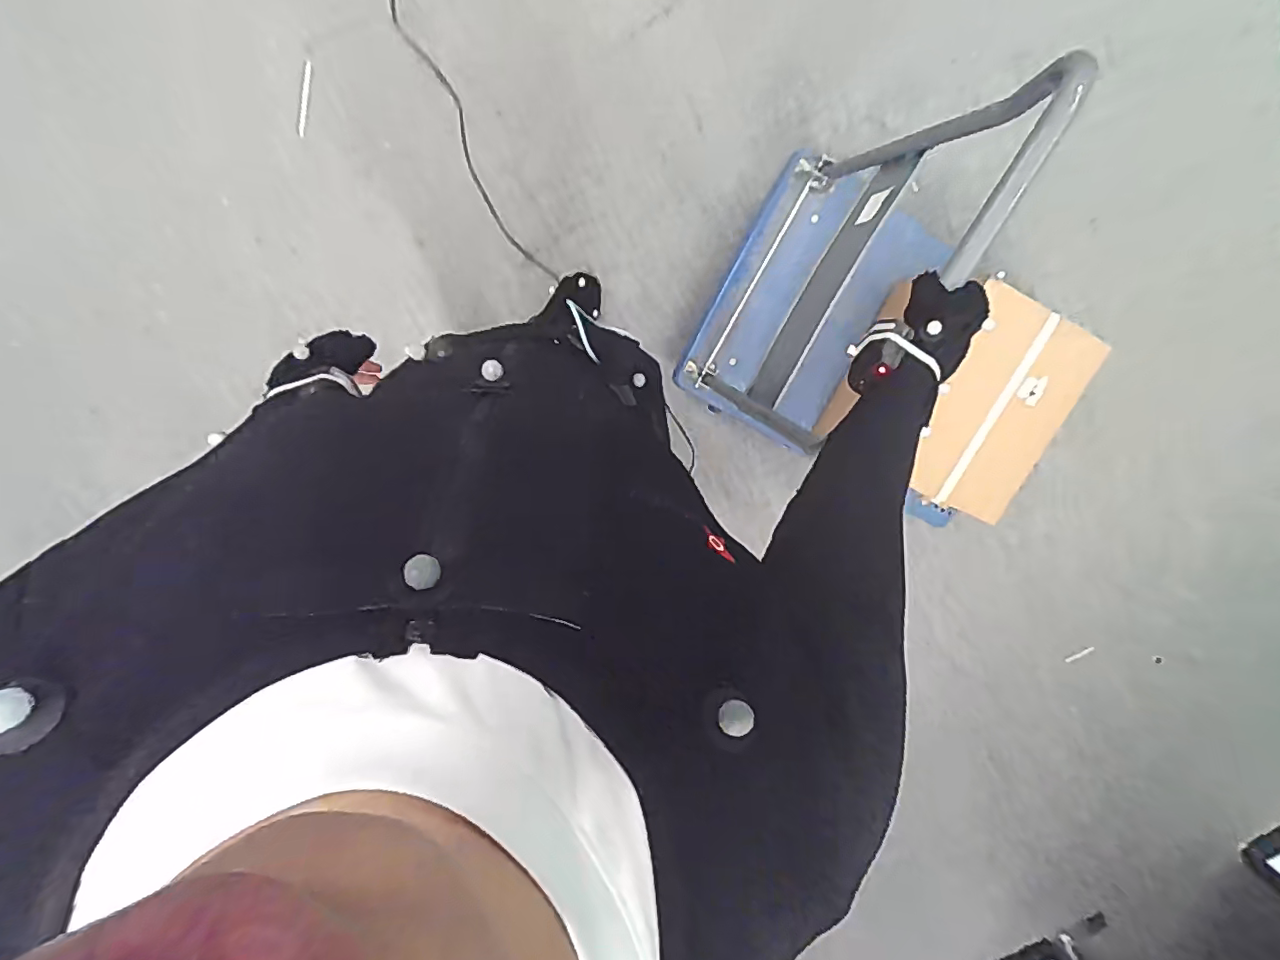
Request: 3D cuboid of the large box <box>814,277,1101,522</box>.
[{"bbox_3d":[0.657,-0.180,1.193,0.320,0.320,0.408,22,103,-14],"label":"large box"}]
